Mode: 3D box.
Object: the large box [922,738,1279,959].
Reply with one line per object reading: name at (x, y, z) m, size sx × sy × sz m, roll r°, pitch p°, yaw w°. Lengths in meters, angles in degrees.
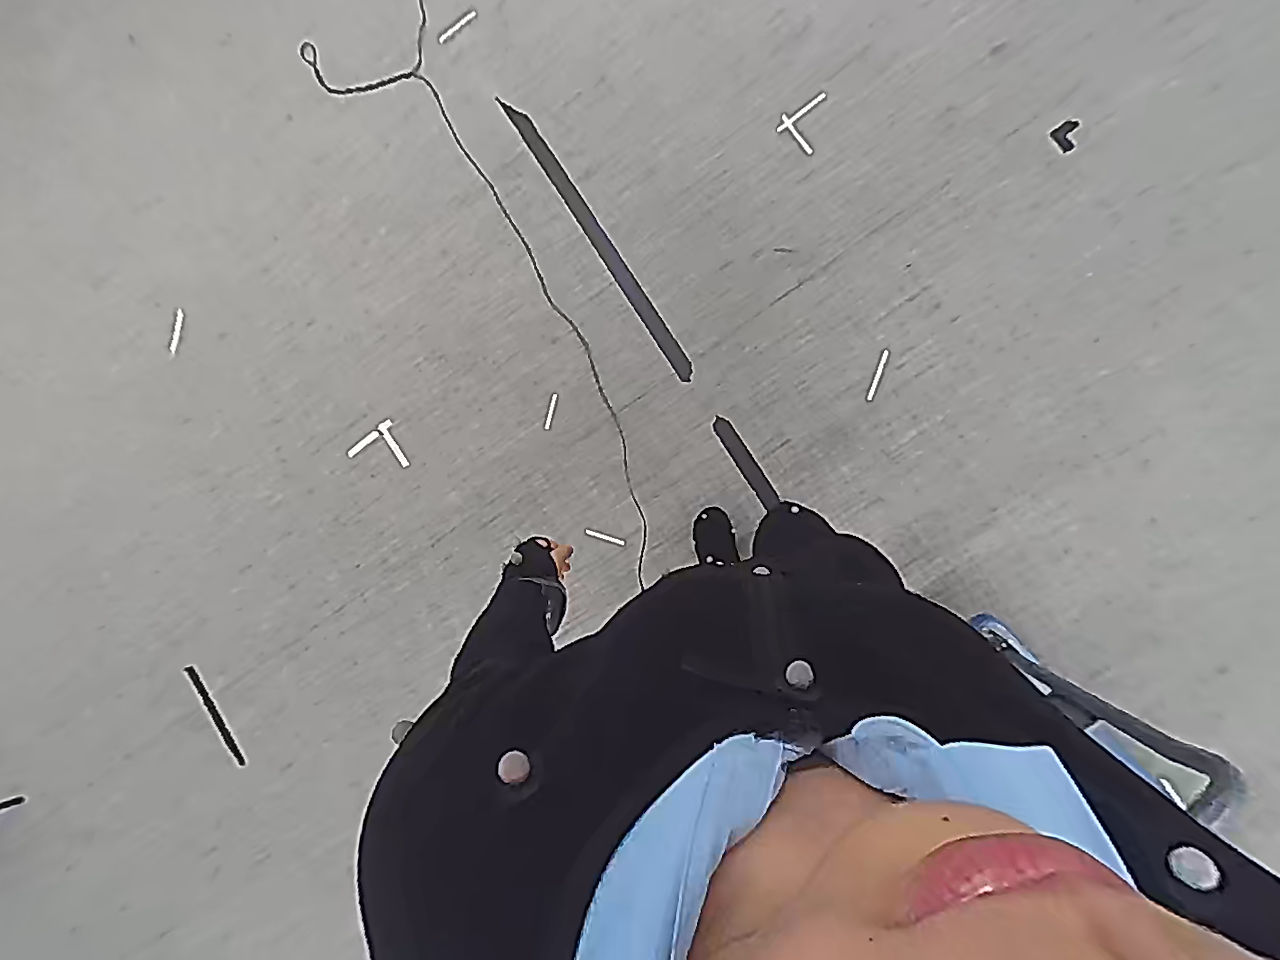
large box at (0.860, 0.807, 1.057) m, size 0.408 × 0.320 × 0.320 m, roll -42°, pitch 83°, yaw 5°
